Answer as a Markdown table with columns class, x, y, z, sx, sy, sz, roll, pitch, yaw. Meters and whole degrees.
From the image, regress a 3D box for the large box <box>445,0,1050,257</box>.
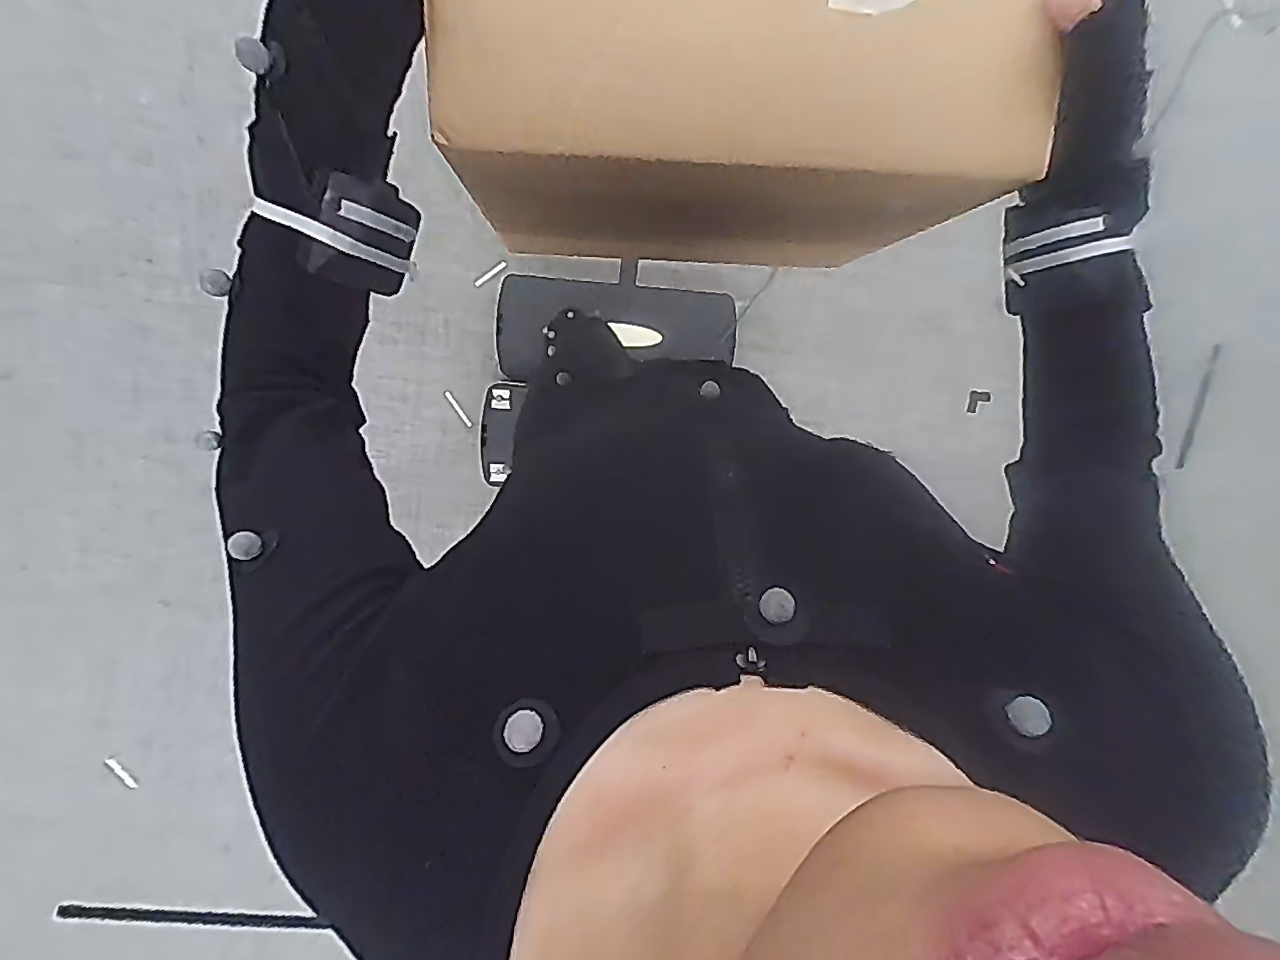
| class | x | y | z | sx | sy | sz | roll | pitch | yaw |
| --- | --- | --- | --- | --- | --- | --- | --- | --- | --- |
| large box | 0.061 | -0.393 | 0.479 | 0.408 | 0.320 | 0.320 | -1 | 102 | -6 |
